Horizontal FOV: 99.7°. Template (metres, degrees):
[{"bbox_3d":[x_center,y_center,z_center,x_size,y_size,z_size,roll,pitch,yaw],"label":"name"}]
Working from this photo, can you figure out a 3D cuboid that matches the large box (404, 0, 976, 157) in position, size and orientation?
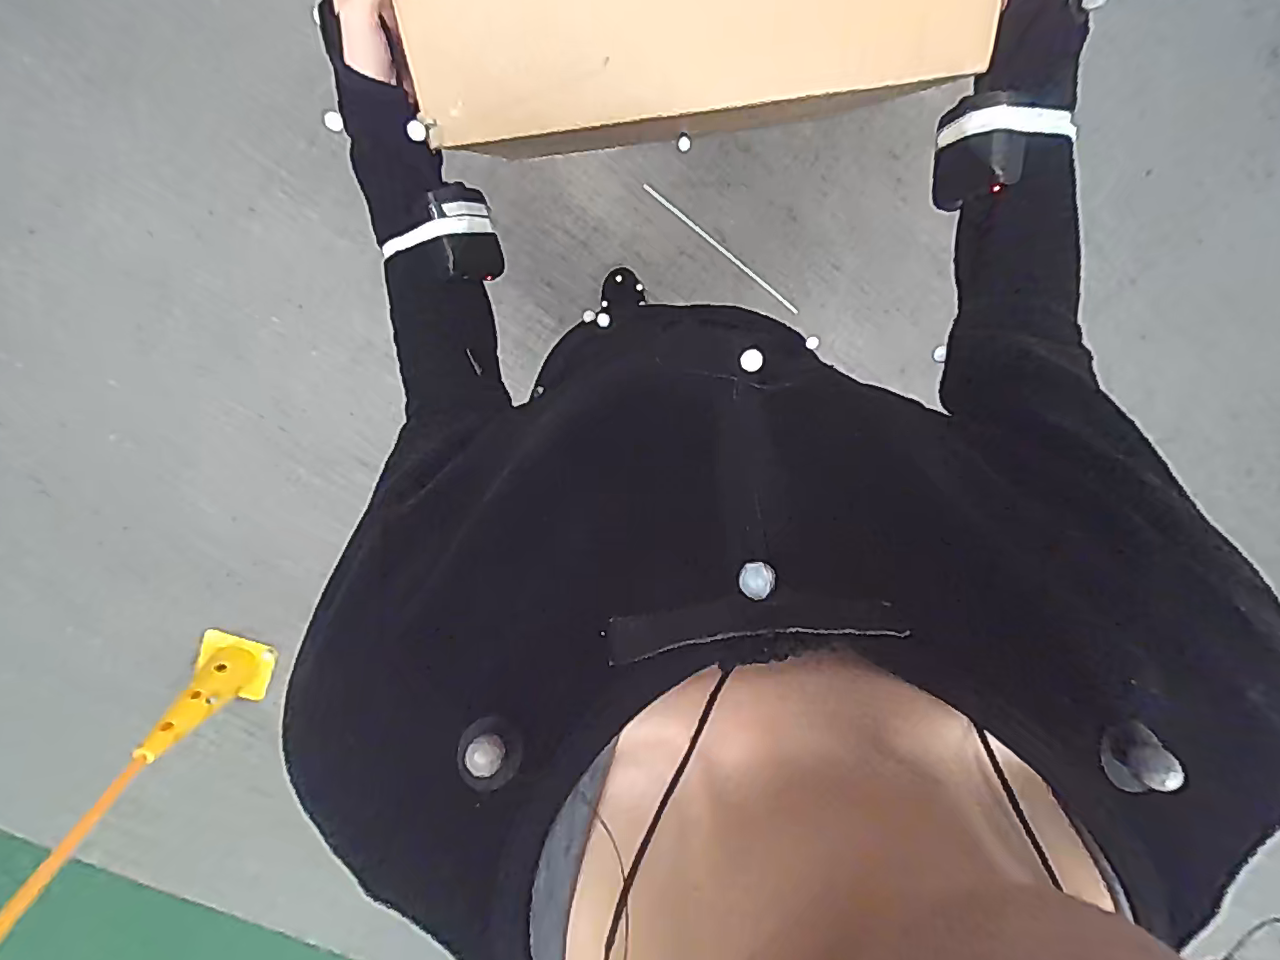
[{"bbox_3d":[0.023,-0.484,0.462,0.408,0.320,0.320,-7,118,3],"label":"large box"}]
